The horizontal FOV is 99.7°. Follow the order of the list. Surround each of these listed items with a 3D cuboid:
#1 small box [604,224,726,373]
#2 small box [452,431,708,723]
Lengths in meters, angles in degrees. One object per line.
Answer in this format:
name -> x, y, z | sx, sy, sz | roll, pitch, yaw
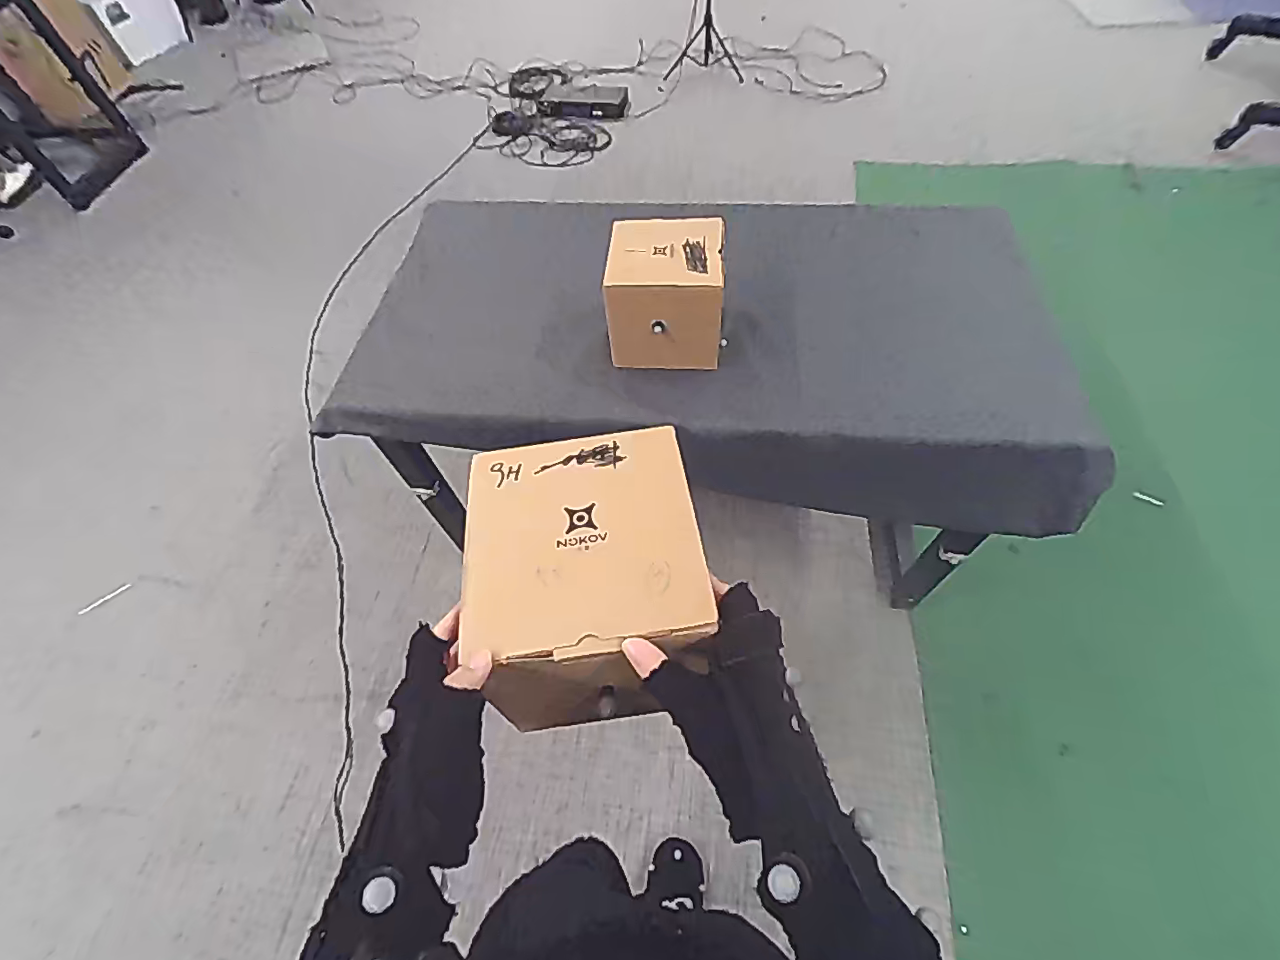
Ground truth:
small box -> 0.039, -0.289, 0.878 | 0.179, 0.176, 0.168 | 0, 57, 2
small box -> -0.040, 0.088, 0.446 | 0.168, 0.176, 0.179 | -8, 53, -2
